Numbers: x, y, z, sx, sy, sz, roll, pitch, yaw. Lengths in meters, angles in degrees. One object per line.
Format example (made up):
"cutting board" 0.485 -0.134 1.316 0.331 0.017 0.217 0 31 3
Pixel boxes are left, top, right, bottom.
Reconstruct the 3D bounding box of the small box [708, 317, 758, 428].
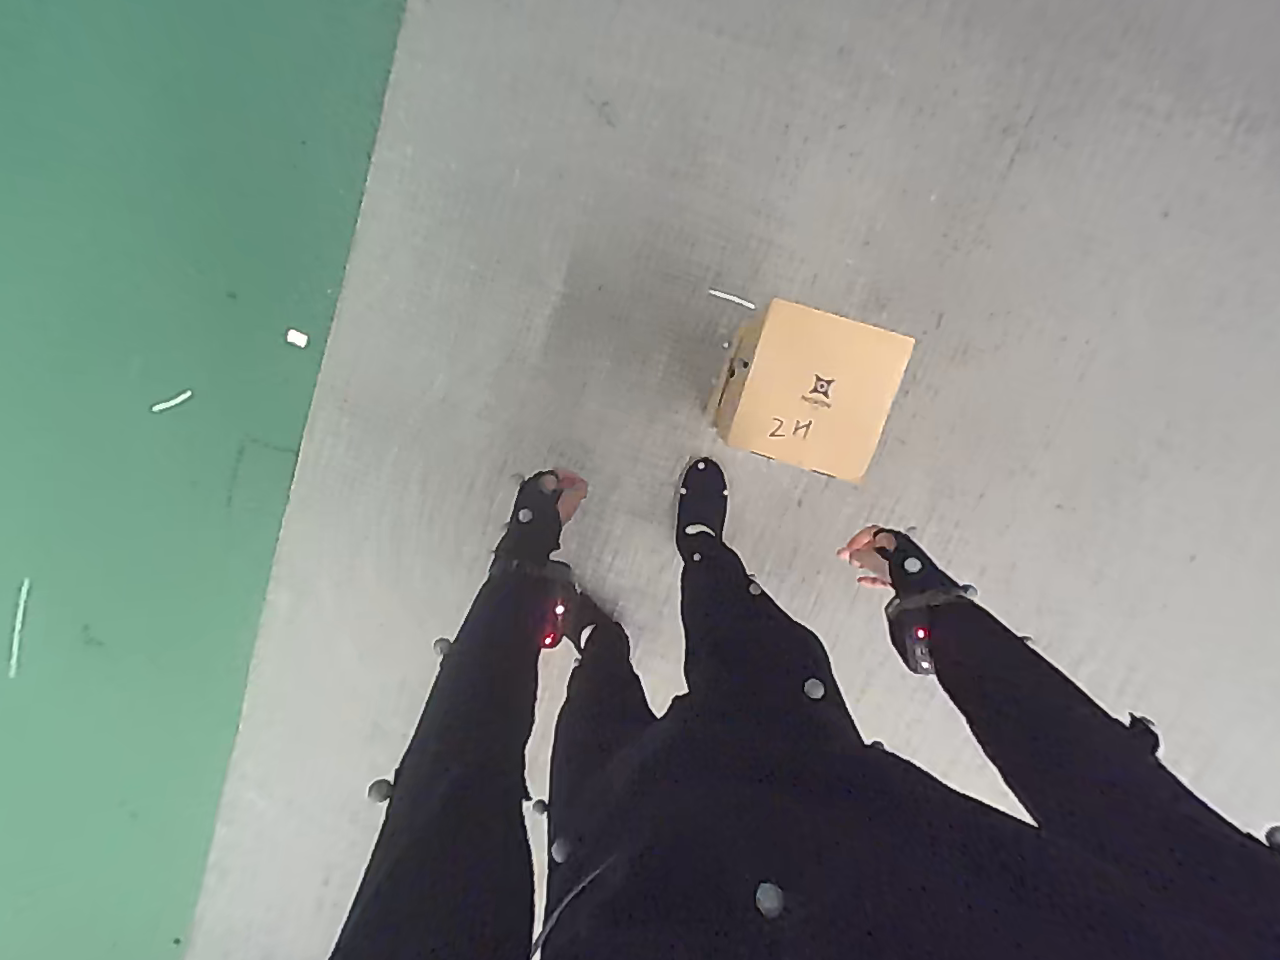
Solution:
"small box" 0.215 -0.138 0.849 0.179 0.176 0.168 18 100 0

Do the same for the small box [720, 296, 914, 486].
"small box" 0.206 -0.110 0.687 0.168 0.176 0.179 18 100 2
